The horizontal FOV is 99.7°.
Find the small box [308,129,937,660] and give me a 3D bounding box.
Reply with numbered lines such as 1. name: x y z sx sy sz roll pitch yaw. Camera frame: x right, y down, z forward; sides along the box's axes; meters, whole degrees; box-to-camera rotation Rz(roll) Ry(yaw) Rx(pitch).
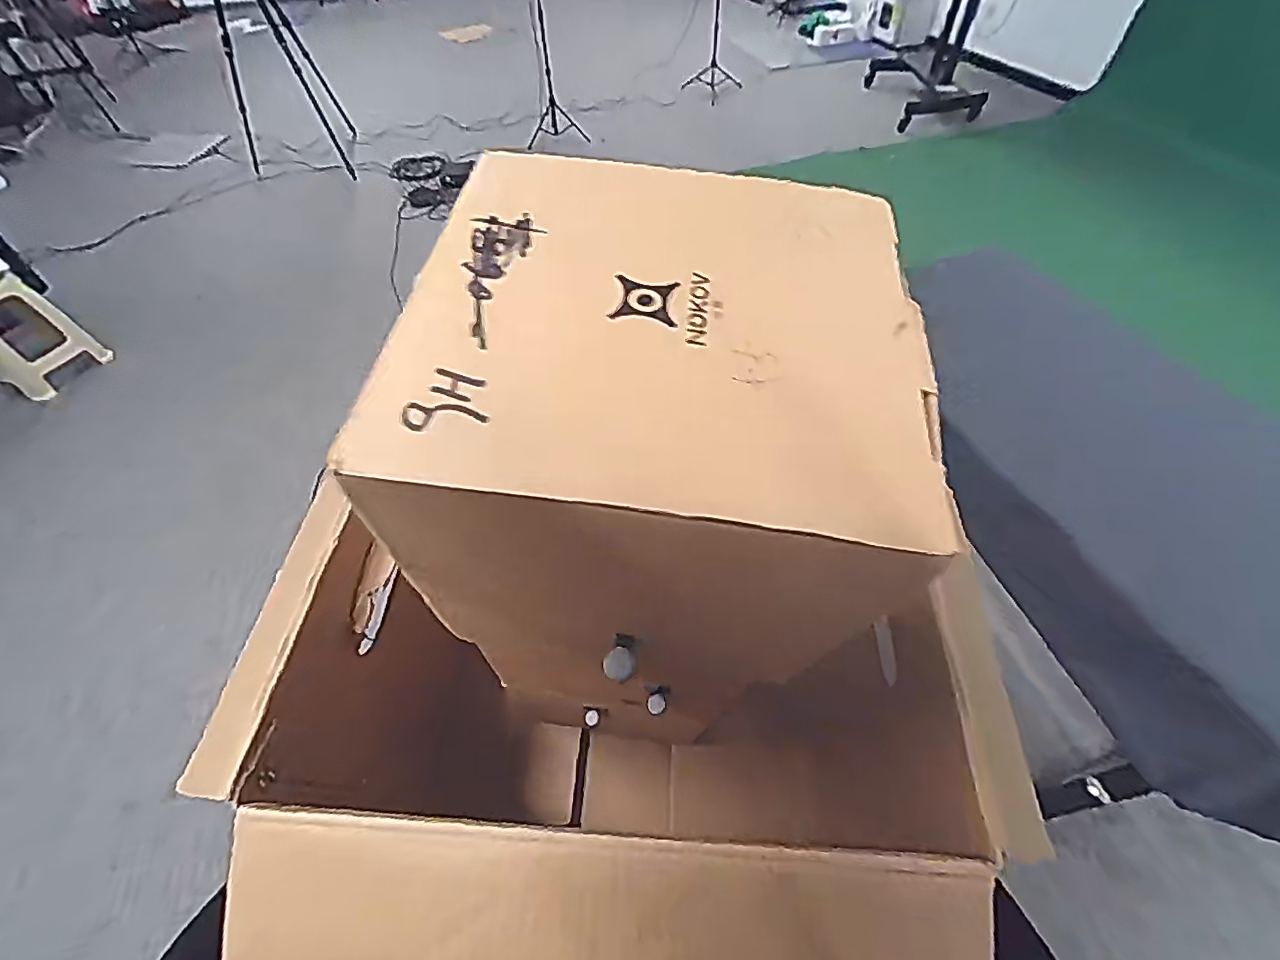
1. small box: 0.000 -0.023 0.254 0.179 0.176 0.168 8 58 0
